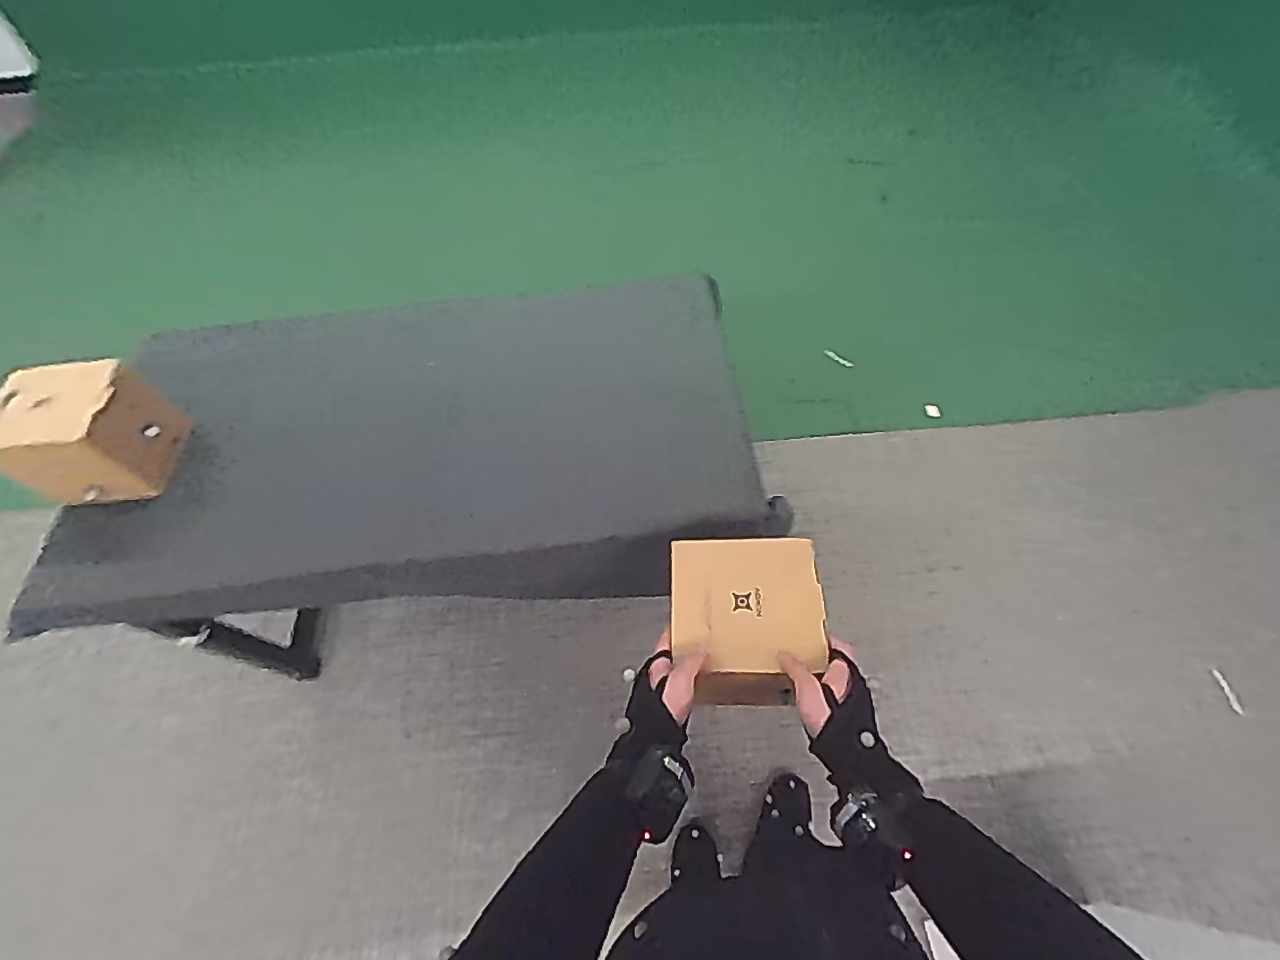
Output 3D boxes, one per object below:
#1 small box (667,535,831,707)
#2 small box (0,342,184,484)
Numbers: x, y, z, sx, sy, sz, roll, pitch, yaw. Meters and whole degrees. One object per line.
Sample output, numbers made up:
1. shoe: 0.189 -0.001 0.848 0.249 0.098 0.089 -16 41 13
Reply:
1. small box: 0.127 0.183 0.686 0.179 0.176 0.168 -3 54 7
2. small box: -0.918 -0.107 0.893 0.179 0.176 0.168 -4 58 -3
